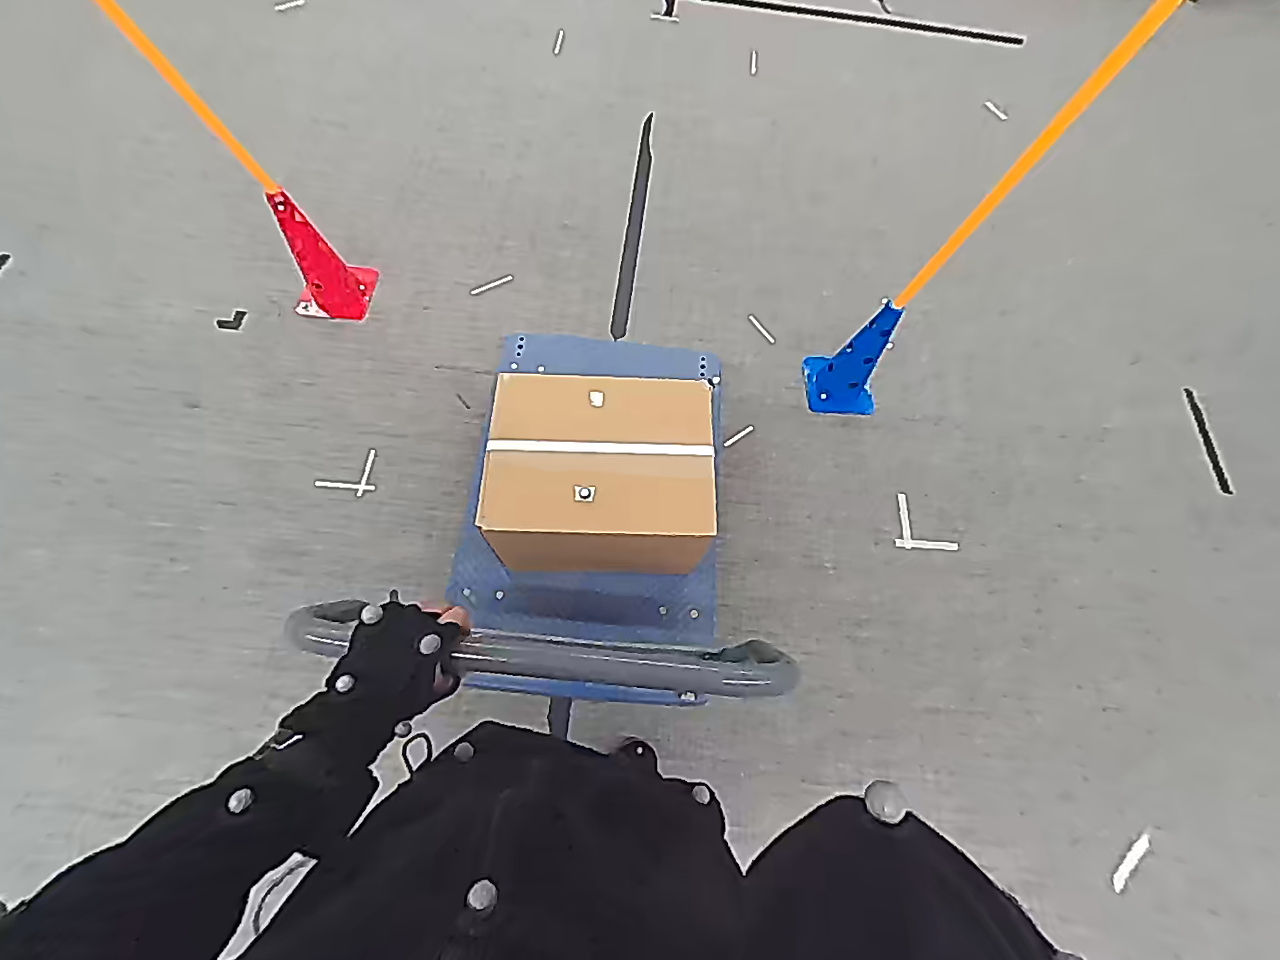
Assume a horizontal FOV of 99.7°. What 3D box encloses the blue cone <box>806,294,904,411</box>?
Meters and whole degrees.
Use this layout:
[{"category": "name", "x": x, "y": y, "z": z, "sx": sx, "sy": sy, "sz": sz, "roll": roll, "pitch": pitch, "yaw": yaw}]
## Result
[{"category": "blue cone", "x": 0.617, "y": -0.359, "z": 1.487, "sx": 0.193, "sy": 0.380, "sz": 0.192, "roll": 3, "pitch": 66, "yaw": -3}]
